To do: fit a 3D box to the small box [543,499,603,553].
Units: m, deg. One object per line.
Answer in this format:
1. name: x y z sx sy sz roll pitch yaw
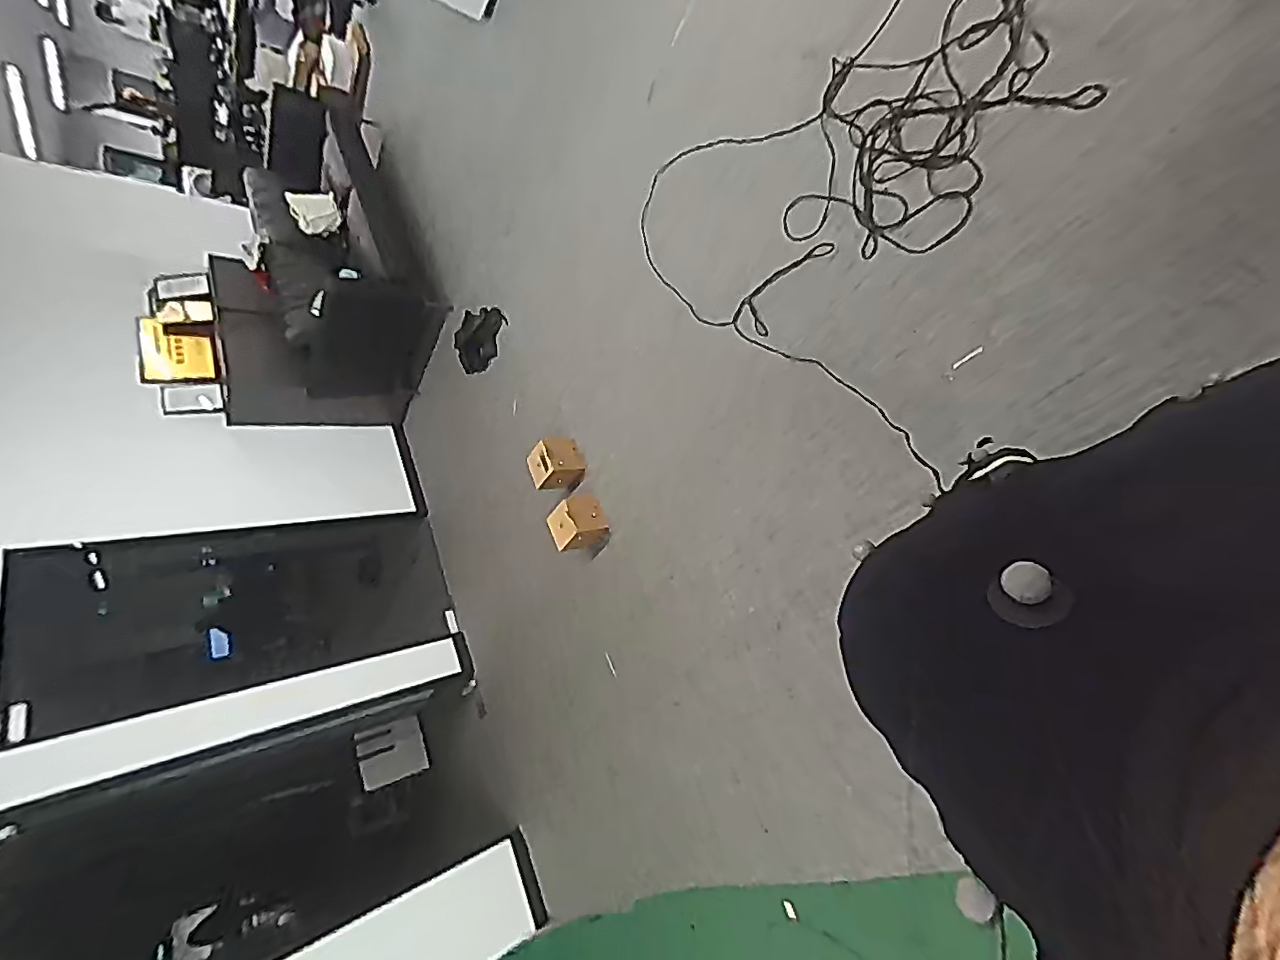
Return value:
1. small box: -0.286 0.196 2.321 0.179 0.176 0.168 -47 58 39
